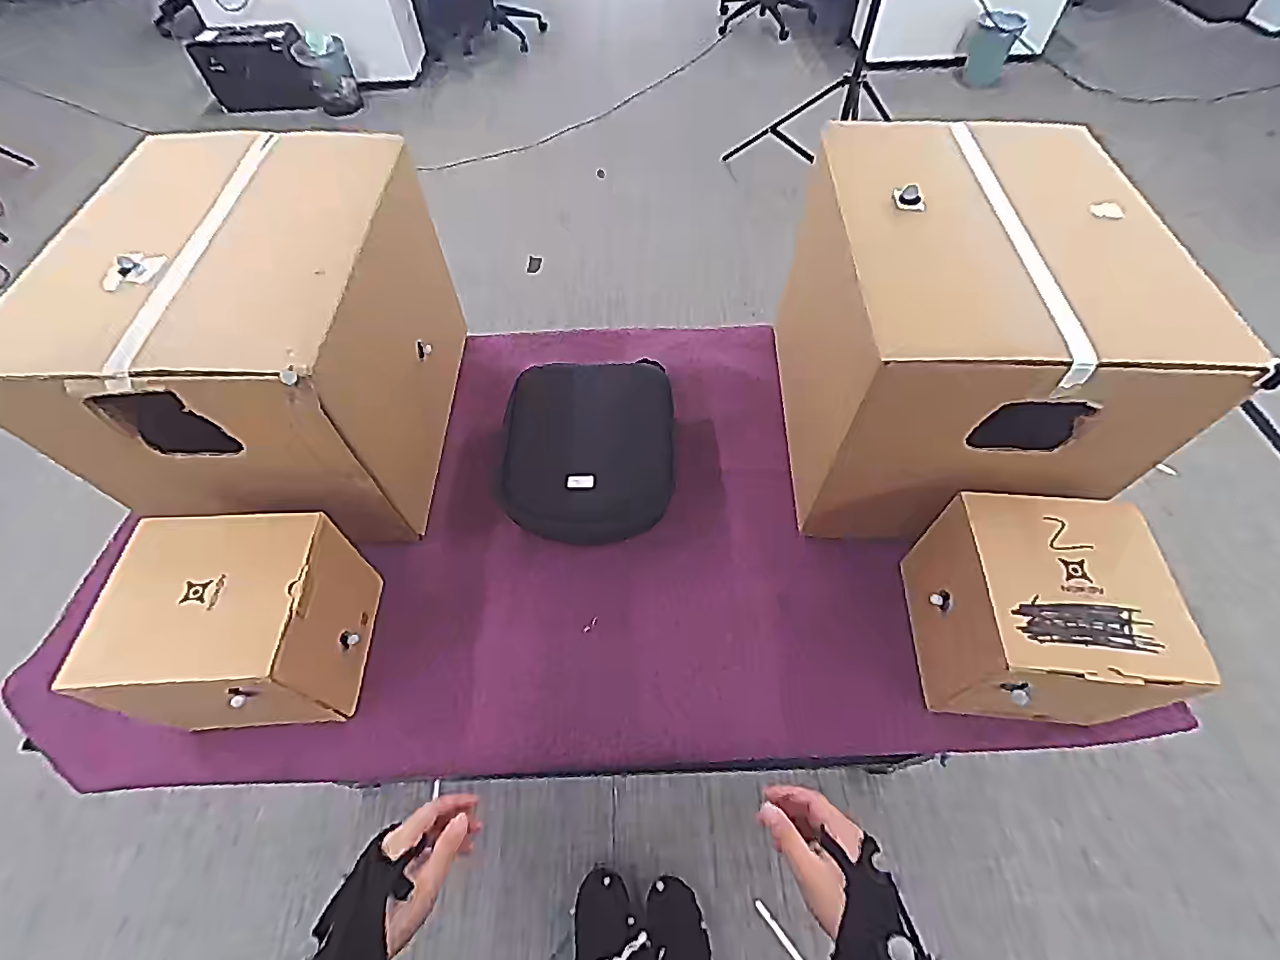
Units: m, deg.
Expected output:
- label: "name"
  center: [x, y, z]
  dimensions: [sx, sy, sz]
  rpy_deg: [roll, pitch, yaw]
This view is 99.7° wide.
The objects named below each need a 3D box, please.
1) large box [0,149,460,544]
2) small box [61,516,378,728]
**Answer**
- label: "large box"
  center: [-0.442, -0.158, 0.694]
  dimensions: [0.320, 0.320, 0.408]
  rpy_deg: [-2, 59, -1]
- label: "small box"
  center: [-0.407, 0.154, 0.567]
  dimensions: [0.179, 0.176, 0.168]
  rpy_deg: [-2, 55, -4]
